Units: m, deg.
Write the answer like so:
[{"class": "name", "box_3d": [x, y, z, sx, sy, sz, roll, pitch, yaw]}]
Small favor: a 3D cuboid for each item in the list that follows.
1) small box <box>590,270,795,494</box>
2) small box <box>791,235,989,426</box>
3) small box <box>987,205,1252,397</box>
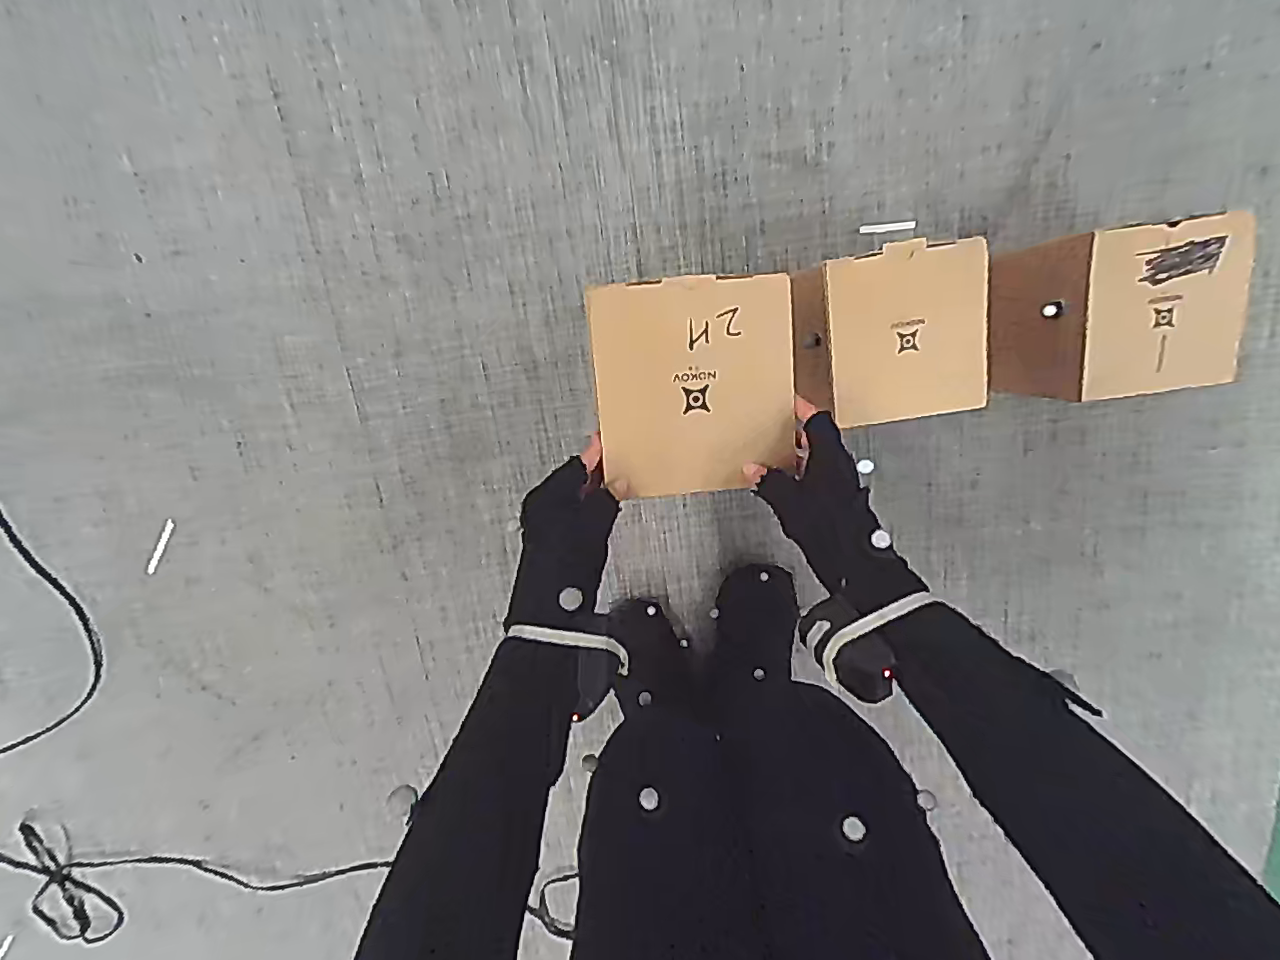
[{"class": "small box", "box_3d": [0.041, -0.093, 0.526, 0.168, 0.176, 0.179, -5, 99, -5]}, {"class": "small box", "box_3d": [0.279, -0.171, 0.641, 0.168, 0.176, 0.179, -9, 103, 1]}, {"class": "small box", "box_3d": [0.541, -0.200, 0.637, 0.168, 0.176, 0.179, -8, 104, 1]}]
